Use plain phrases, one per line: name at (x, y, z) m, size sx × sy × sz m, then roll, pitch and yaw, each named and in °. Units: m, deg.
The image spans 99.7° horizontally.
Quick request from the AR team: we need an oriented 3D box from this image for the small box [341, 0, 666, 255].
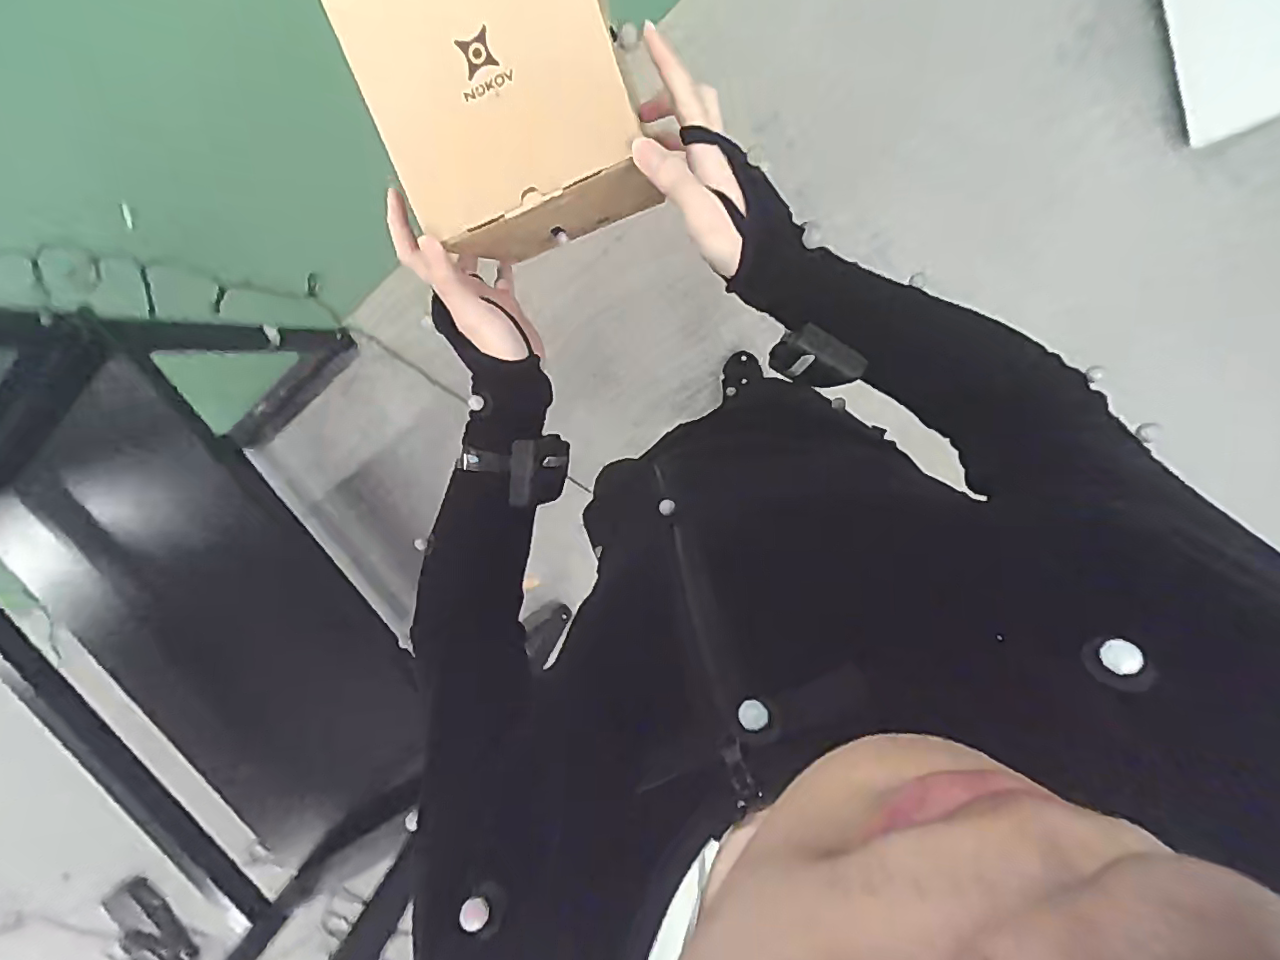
small box at (-0.085, -0.293, 0.420) m, size 0.168 × 0.176 × 0.179 m, roll -16°, pitch 106°, yaw 13°
